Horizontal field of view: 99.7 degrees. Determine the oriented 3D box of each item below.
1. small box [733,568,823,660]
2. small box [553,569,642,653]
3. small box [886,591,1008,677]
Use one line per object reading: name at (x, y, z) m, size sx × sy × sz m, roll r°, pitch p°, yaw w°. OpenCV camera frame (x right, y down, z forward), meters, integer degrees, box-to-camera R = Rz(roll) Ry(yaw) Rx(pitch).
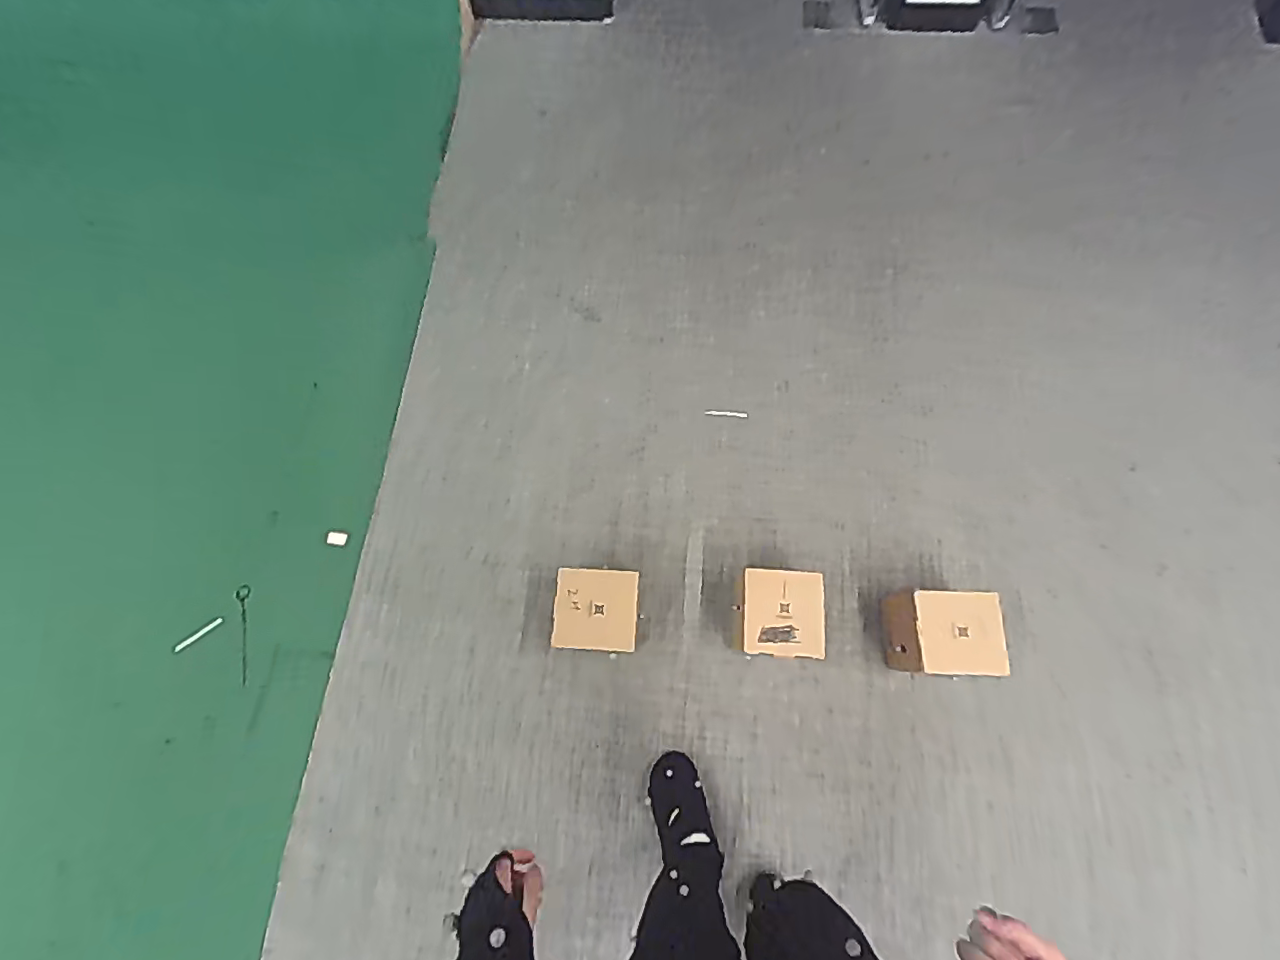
small box at (0.301, 0.299, 1.199) m, size 0.168 × 0.176 × 0.179 m, roll 4°, pitch 73°, yaw 3°
small box at (-0.088, 0.296, 1.214) m, size 0.179 × 0.176 × 0.168 m, roll 3°, pitch 73°, yaw 3°
small box at (0.653, 0.335, 1.177) m, size 0.179 × 0.176 × 0.168 m, roll 1°, pitch 74°, yaw 2°
